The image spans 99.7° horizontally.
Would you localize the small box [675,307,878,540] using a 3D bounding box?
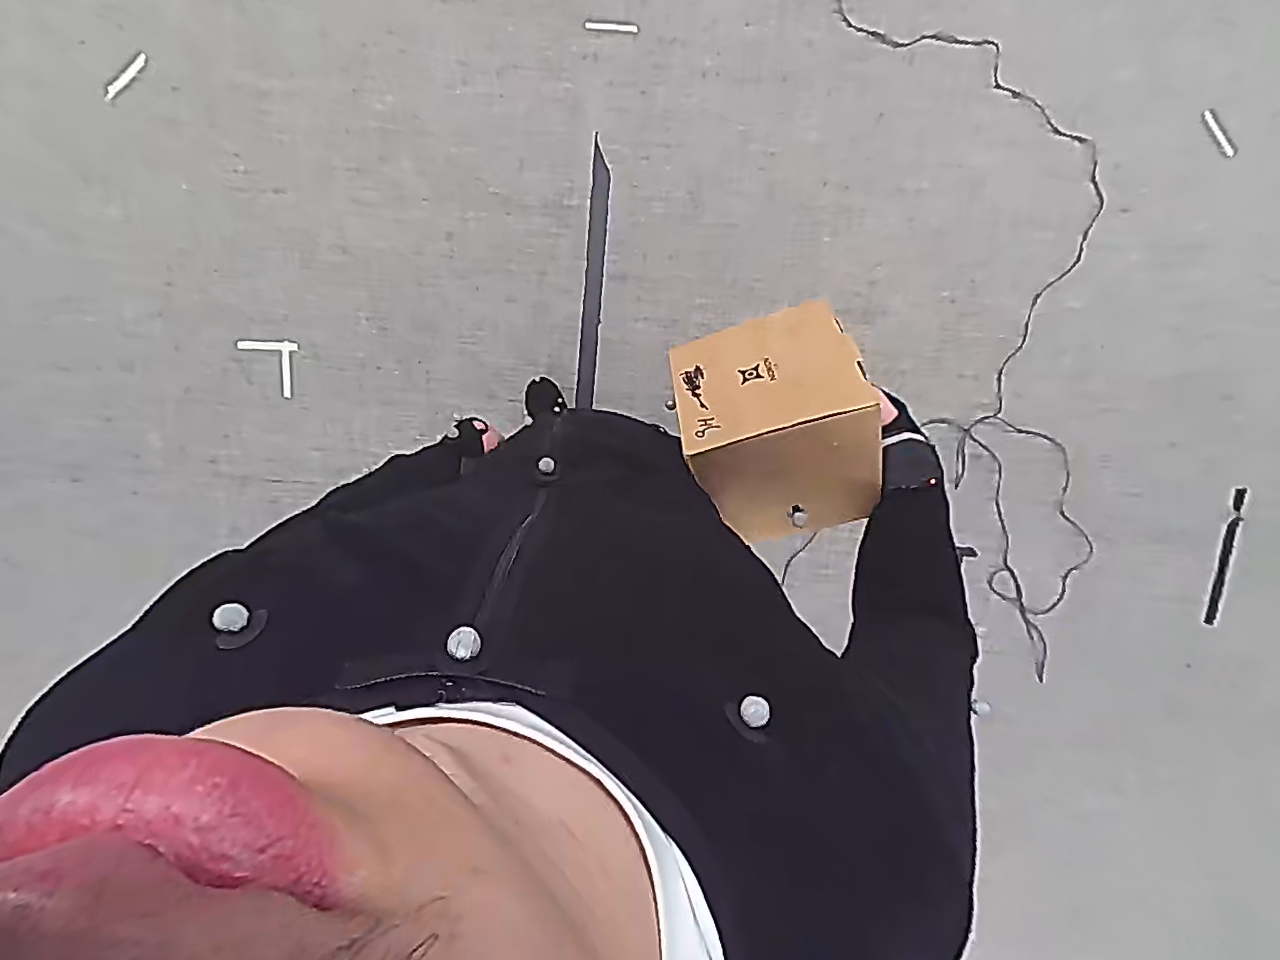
[{"bbox_3d":[0.149,-0.056,0.604,0.179,0.168,0.176,-15,137,12],"label":"small box"}]
